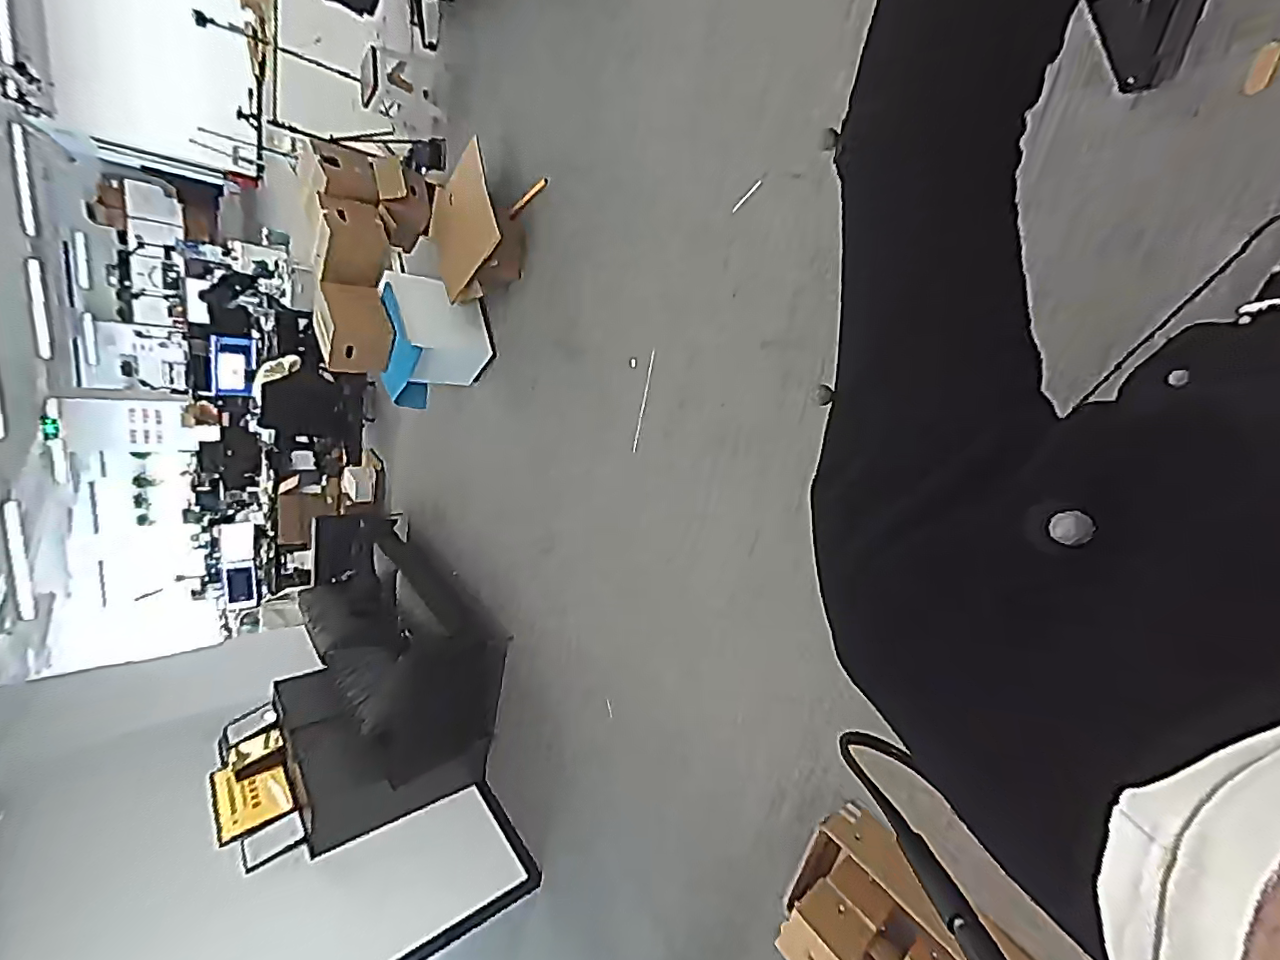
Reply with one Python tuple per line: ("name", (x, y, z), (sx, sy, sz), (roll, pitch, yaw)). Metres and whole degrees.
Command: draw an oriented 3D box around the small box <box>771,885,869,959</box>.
("small box", (0.517, 1.317, 1.555), (0.179, 0.176, 0.168), (35, 117, 41))
